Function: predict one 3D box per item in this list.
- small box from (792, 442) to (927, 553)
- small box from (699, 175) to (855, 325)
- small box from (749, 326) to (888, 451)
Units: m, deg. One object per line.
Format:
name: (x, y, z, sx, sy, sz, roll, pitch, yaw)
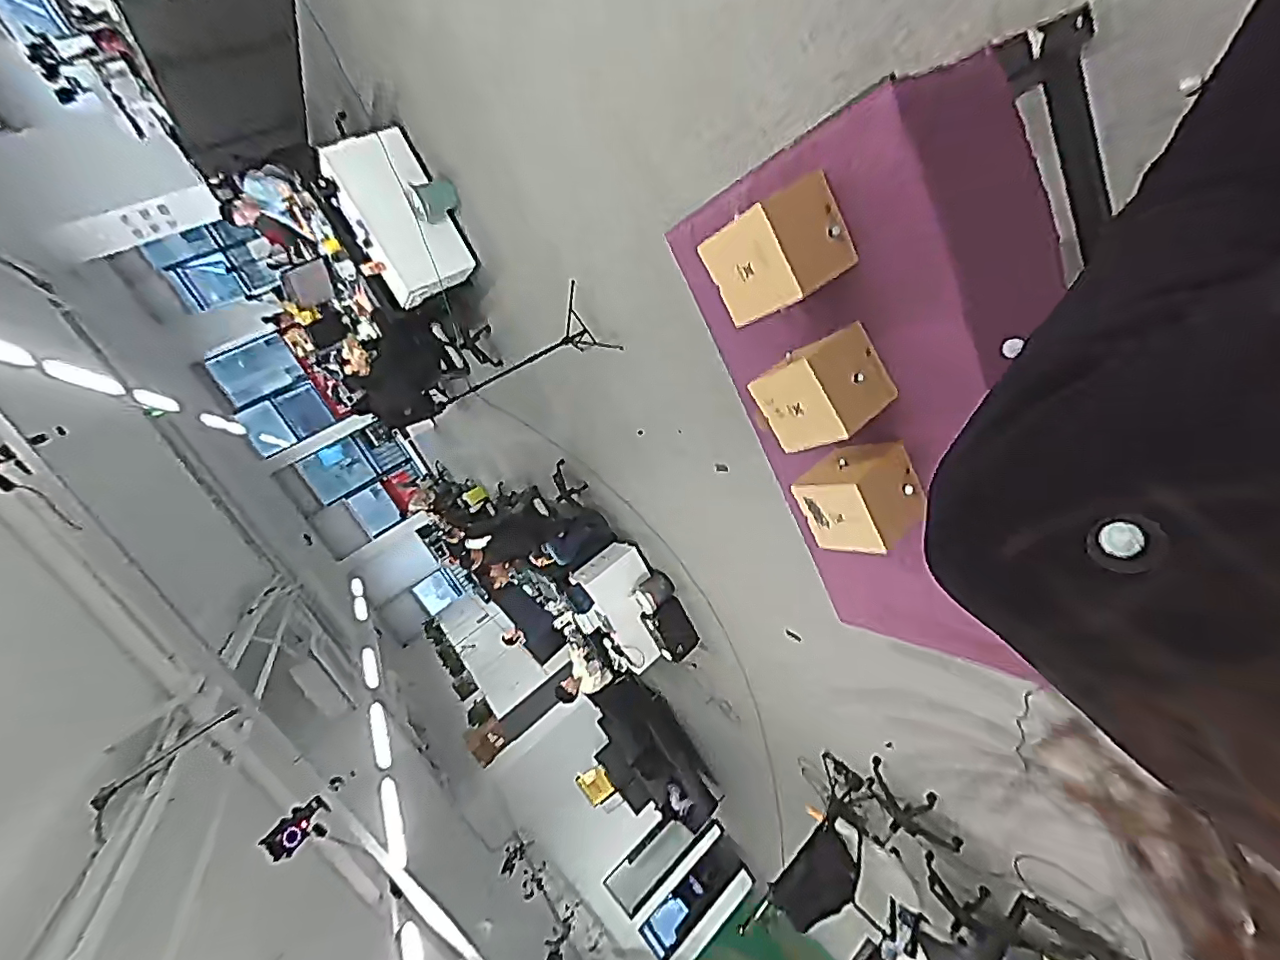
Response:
small box: (0.468, 0.034, 1.154, 0.168, 0.176, 0.179, 60, 155, -13)
small box: (0.246, -0.408, 0.974, 0.168, 0.176, 0.179, 59, 156, -14)
small box: (0.358, -0.179, 1.071, 0.168, 0.176, 0.179, 58, 156, -8)
